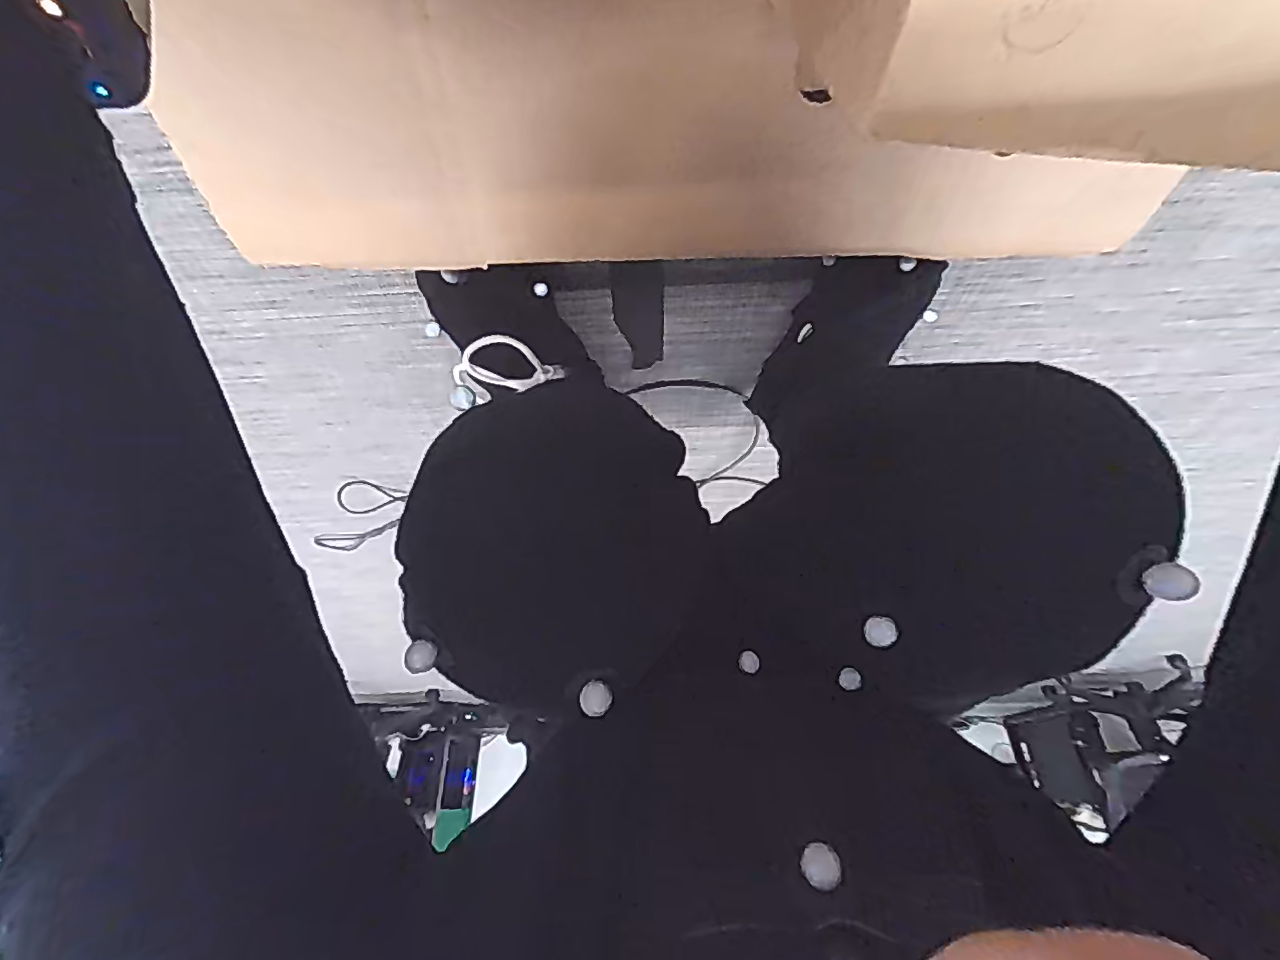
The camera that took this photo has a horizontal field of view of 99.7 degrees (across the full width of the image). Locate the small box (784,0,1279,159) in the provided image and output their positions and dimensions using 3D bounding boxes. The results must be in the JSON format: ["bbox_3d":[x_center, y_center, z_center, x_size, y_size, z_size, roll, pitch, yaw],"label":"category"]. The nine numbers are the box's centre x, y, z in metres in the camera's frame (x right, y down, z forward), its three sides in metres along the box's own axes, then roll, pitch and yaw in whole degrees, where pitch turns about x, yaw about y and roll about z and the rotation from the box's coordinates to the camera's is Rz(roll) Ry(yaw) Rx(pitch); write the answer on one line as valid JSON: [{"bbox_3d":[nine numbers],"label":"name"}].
[{"bbox_3d":[0.151,-0.225,0.161,0.179,0.176,0.168,1,143,-5],"label":"small box"}]
